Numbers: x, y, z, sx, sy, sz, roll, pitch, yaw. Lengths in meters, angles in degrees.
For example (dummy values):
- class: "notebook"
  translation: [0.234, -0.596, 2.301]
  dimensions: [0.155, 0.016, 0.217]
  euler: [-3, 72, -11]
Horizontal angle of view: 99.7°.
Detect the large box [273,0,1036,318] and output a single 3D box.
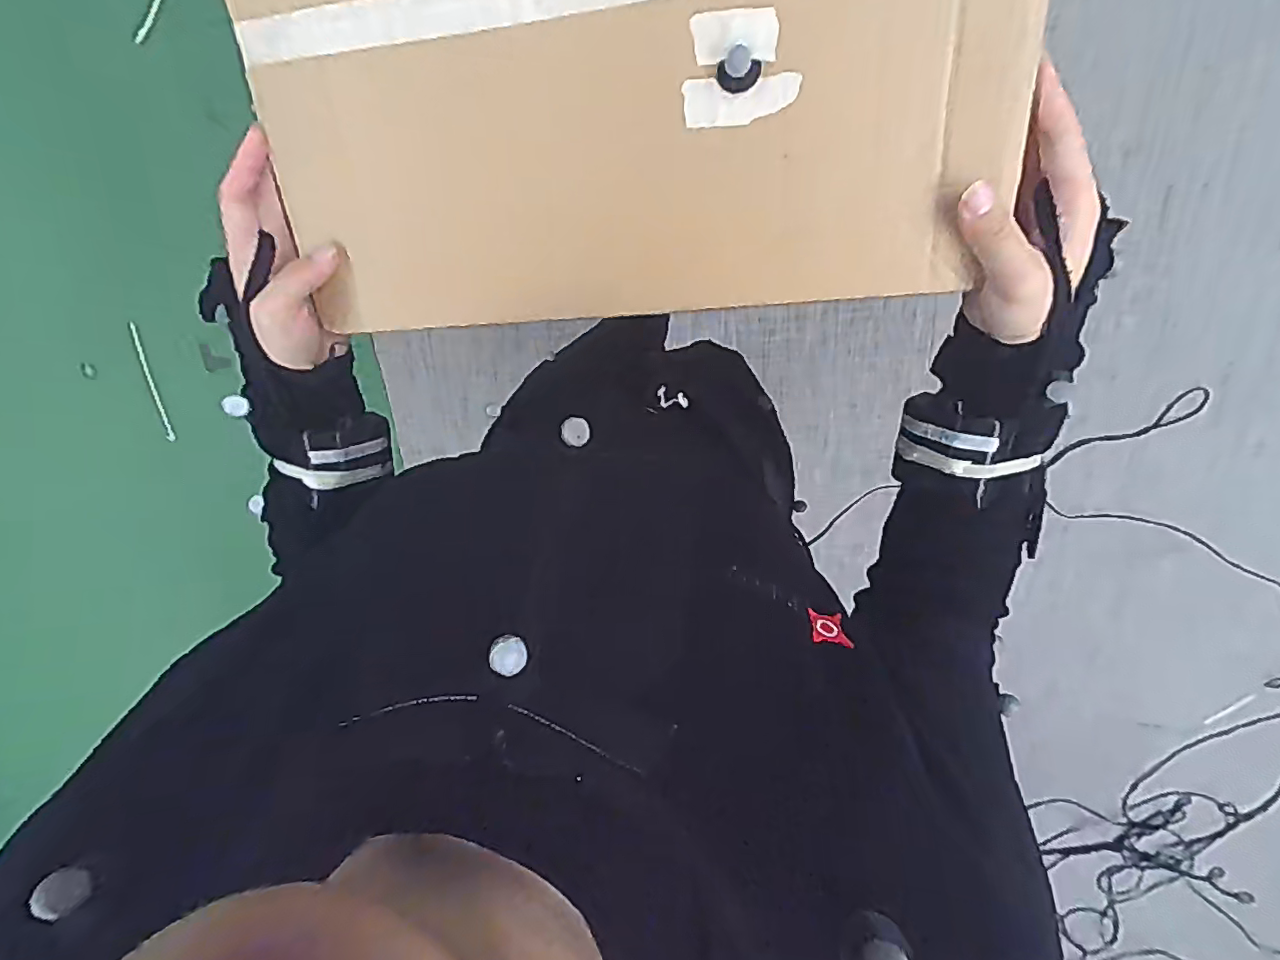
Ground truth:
- class: "large box"
  translation: [0.009, -0.310, 0.414]
  dimensions: [0.408, 0.320, 0.320]
  euler: [-1, 111, 8]
